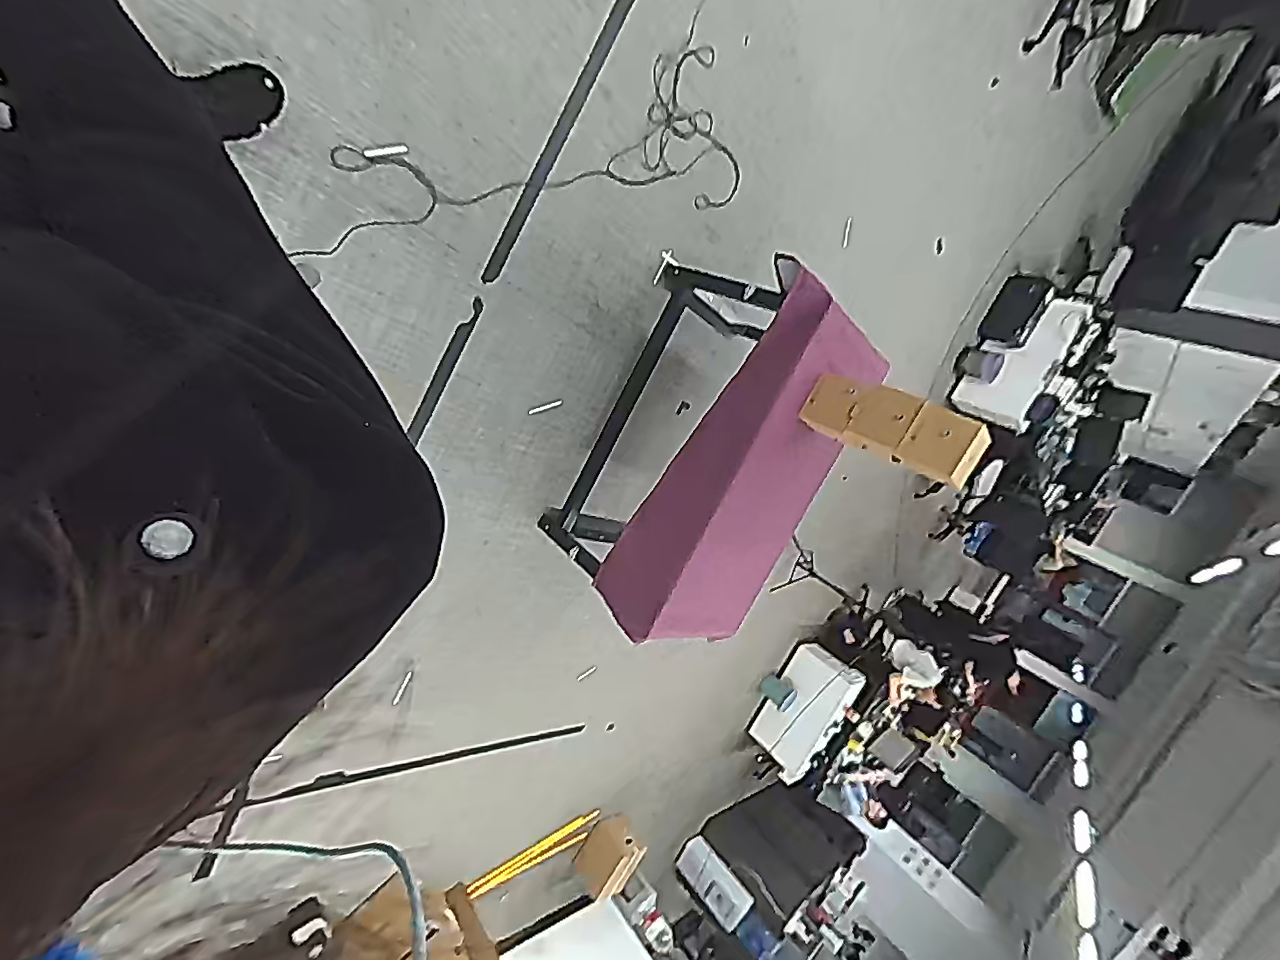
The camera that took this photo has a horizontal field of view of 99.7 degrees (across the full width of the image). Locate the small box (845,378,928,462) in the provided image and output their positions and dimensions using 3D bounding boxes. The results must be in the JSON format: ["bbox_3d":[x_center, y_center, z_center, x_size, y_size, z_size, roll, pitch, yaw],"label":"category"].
[{"bbox_3d":[0.762,-0.187,1.659,0.168,0.176,0.179,30,93,-51],"label":"small box"}]

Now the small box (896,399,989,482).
[{"bbox_3d":[0.865,-0.117,1.555,0.179,0.176,0.168,19,101,-51],"label":"small box"}]
